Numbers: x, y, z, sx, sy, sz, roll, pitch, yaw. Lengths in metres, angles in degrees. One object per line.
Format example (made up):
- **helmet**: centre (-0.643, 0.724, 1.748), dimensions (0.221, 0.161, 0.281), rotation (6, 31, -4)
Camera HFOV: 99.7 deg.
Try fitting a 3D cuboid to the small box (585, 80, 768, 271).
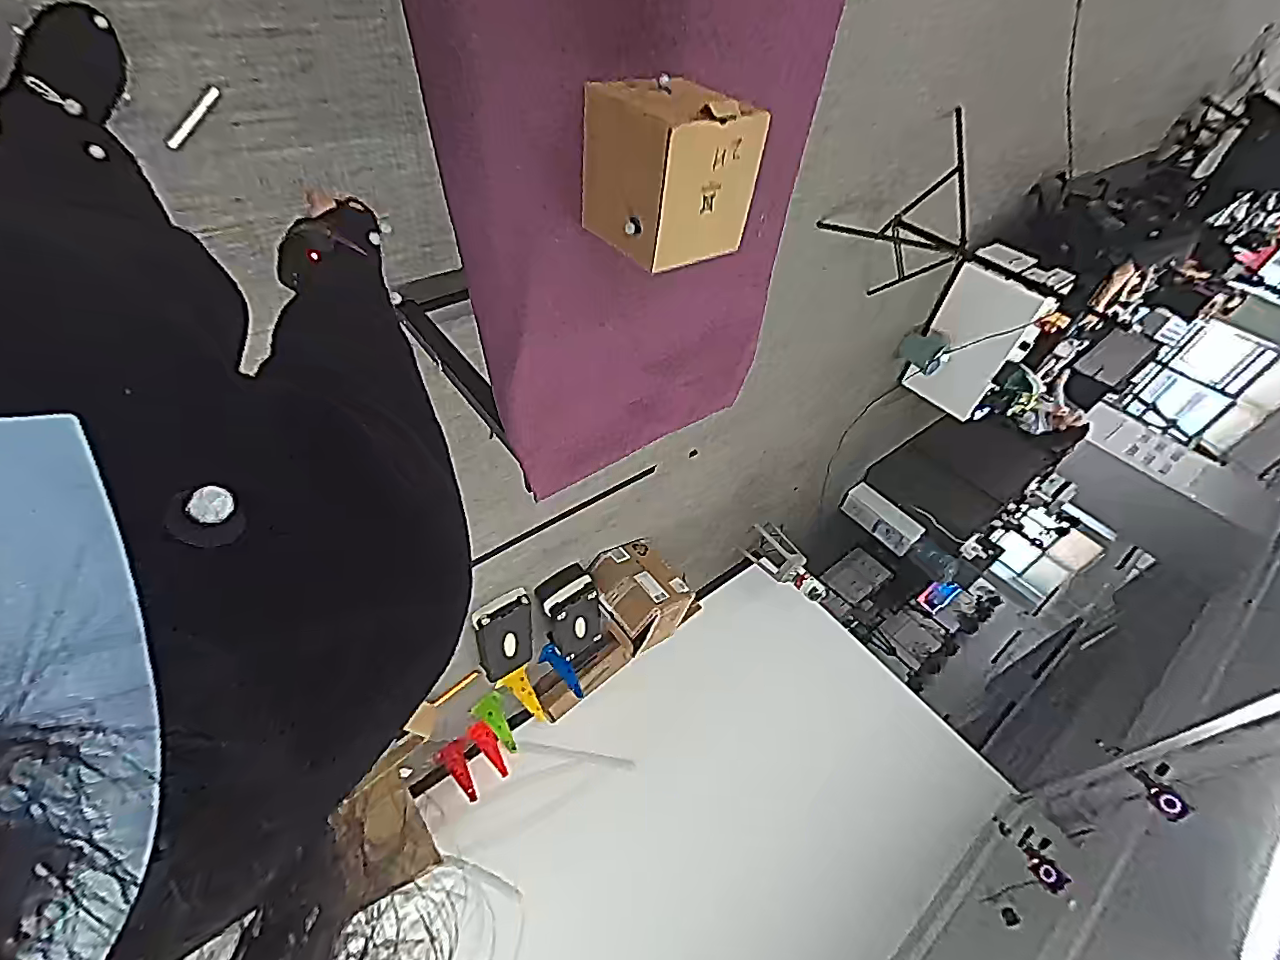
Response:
- **small box**: centre (0.038, -0.414, 0.731), dimensions (0.168, 0.176, 0.179), rotation (-27, 146, -29)
